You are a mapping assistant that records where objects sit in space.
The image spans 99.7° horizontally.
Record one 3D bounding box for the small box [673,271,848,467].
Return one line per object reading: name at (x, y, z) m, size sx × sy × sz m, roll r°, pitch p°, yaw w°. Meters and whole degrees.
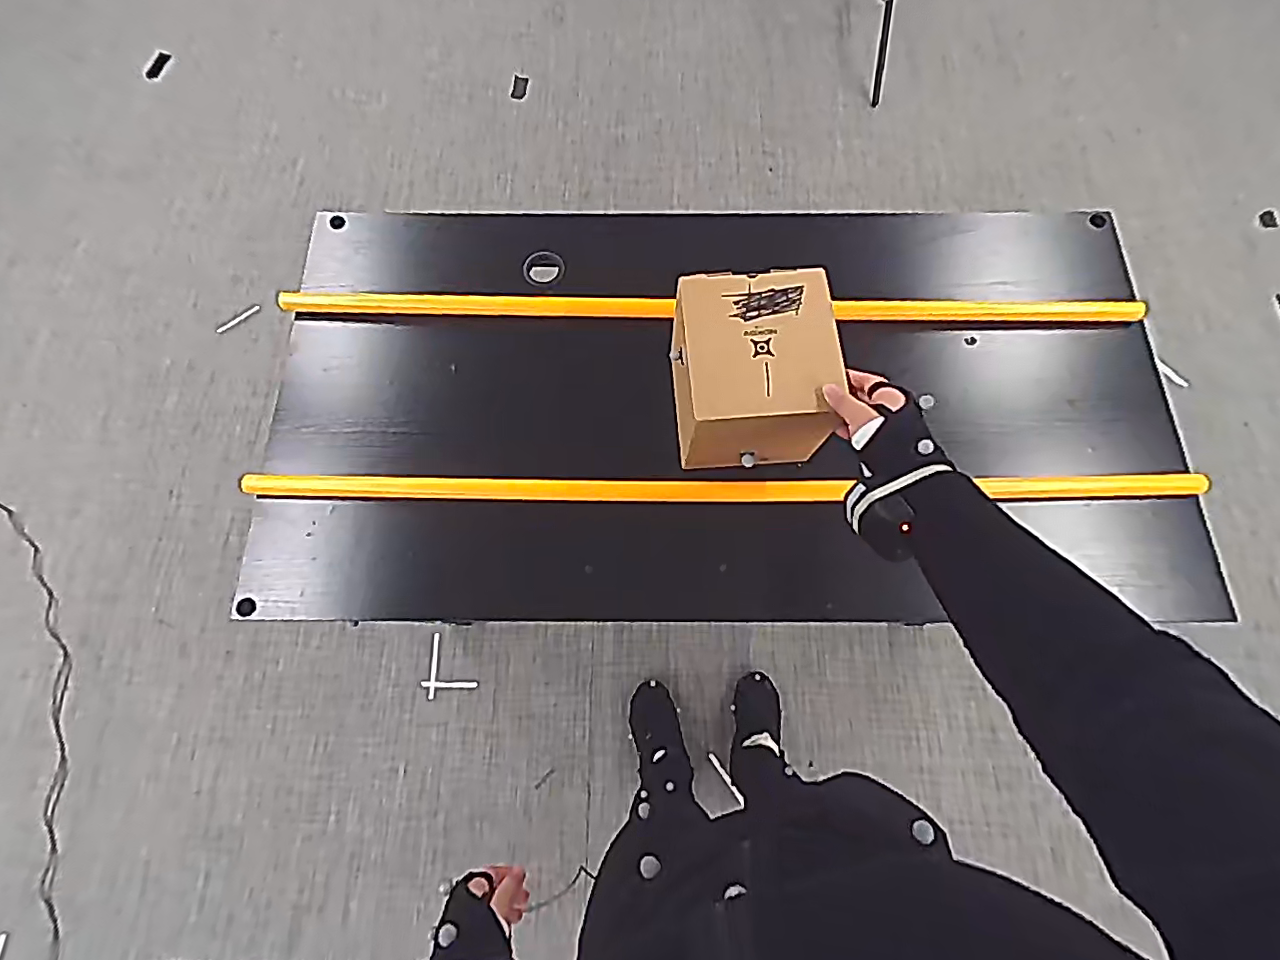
small box at (0.131, -0.128, 0.663) m, size 0.168 × 0.176 × 0.179 m, roll -4°, pitch 74°, yaw -1°
